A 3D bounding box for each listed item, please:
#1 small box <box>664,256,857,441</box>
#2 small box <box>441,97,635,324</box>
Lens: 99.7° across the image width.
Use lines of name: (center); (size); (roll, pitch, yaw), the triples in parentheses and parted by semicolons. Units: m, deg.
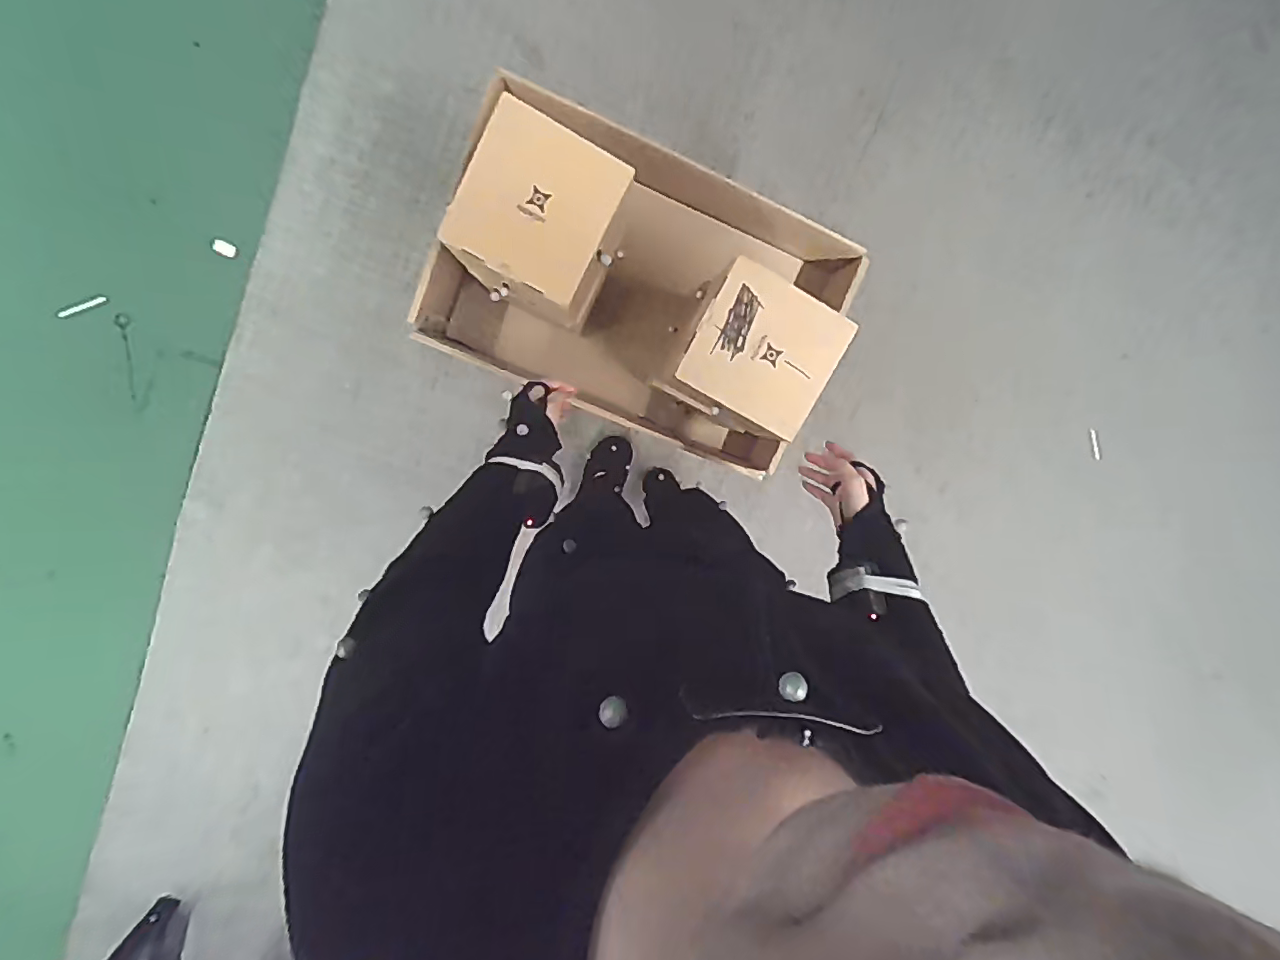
small box: (0.146, -0.166, 0.734); (0.179, 0.176, 0.168); (28, 96, -8)
small box: (-0.123, -0.323, 0.692); (0.168, 0.176, 0.179); (27, 96, -8)
